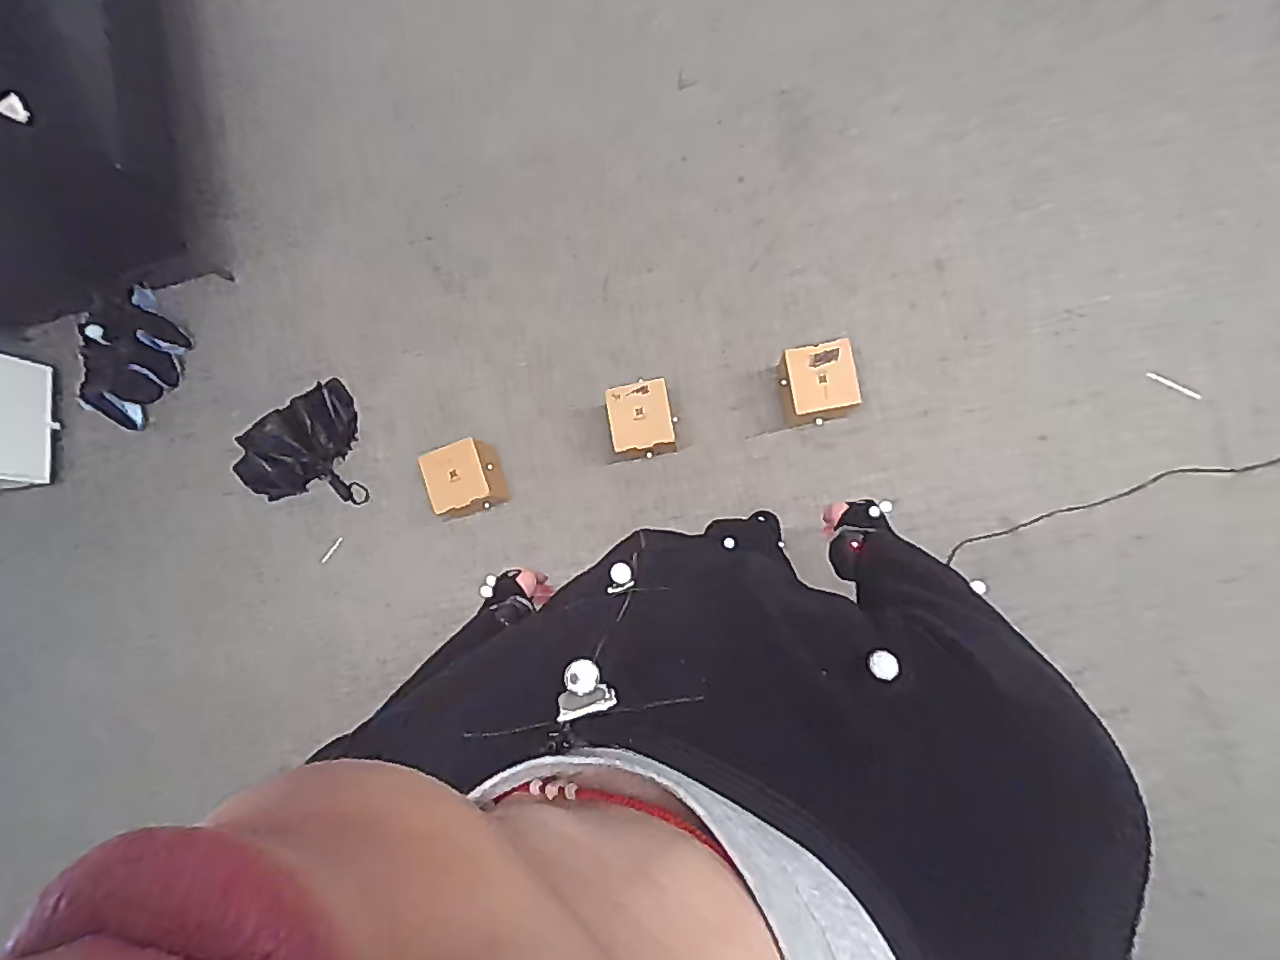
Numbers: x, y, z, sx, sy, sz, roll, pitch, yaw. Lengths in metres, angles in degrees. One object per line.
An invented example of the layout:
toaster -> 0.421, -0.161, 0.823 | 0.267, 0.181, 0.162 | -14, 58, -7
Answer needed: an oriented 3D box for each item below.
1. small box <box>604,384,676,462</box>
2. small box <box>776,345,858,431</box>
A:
small box -> 0.006, -0.150, 1.517 | 0.168, 0.176, 0.179 | -10, 82, 6
small box -> 0.472, -0.243, 1.465 | 0.168, 0.176, 0.179 | -10, 84, 7
